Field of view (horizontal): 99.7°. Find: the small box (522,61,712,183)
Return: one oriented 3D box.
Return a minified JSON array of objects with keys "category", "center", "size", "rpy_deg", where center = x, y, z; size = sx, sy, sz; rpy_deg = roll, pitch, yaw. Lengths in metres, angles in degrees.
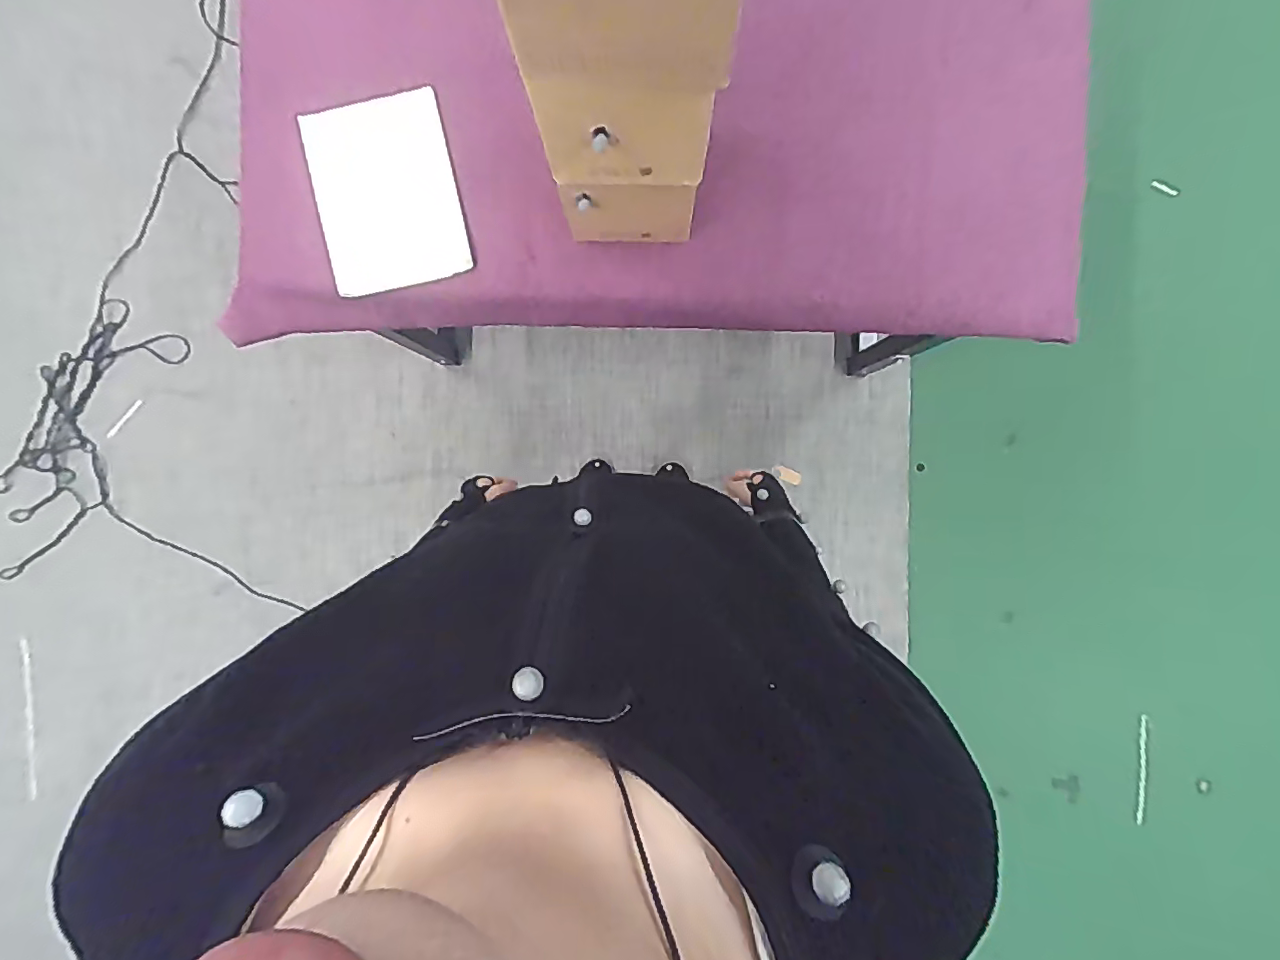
[{"category":"small box","center":[-0.015,-0.422,0.536],"size":[0.168,0.176,0.179],"rpy_deg":[1,90,1]}]

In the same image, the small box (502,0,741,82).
[{"category":"small box","center":[-0.008,-0.414,0.371],"size":[0.179,0.176,0.168],"rpy_deg":[4,90,1]}]
